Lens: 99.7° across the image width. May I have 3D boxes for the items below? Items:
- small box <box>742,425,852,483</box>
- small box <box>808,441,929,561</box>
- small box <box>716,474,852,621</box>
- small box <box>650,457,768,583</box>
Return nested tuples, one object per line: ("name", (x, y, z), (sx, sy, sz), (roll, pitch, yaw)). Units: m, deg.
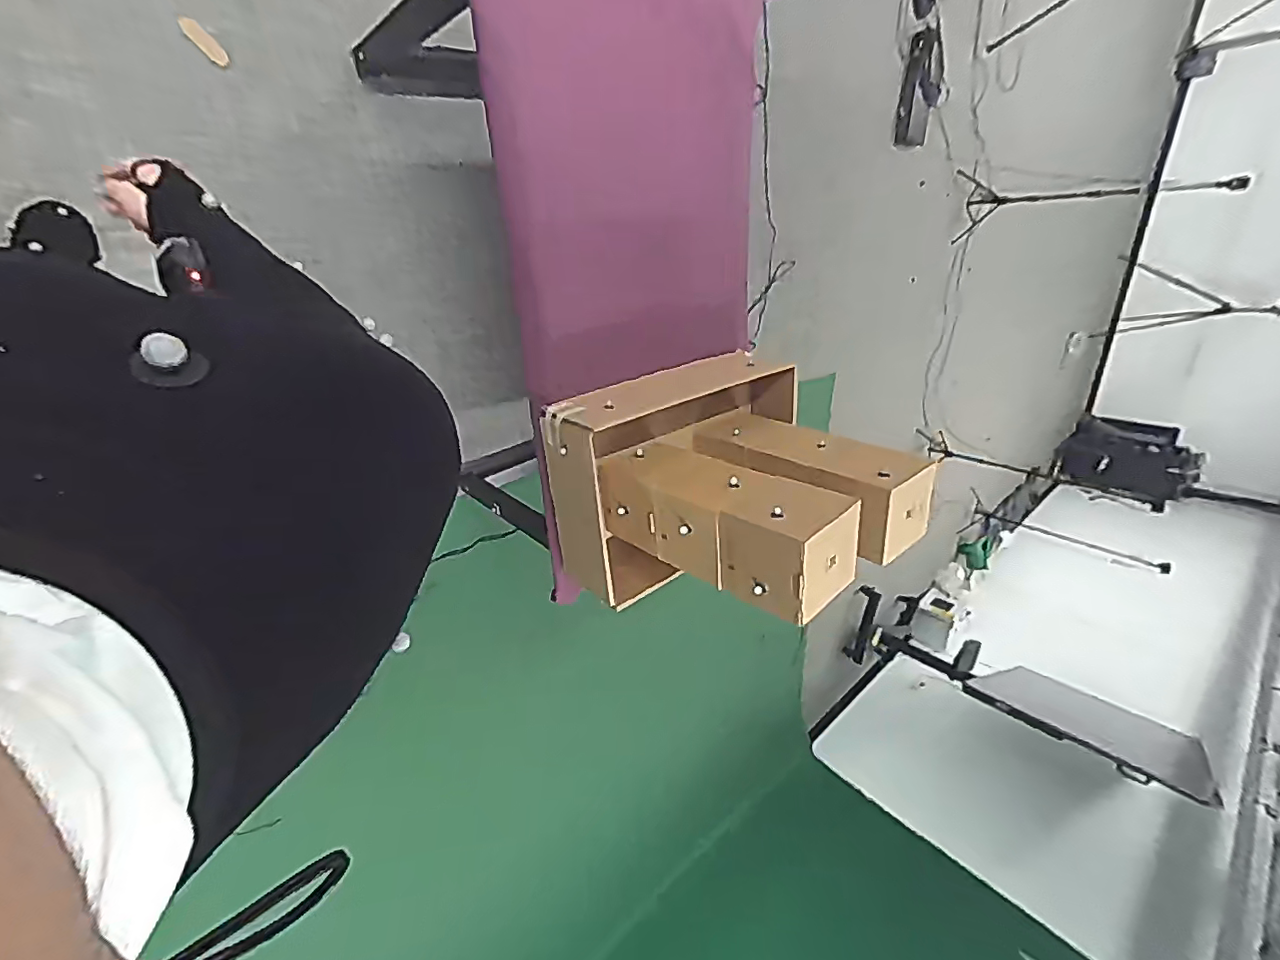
("small box", (0.349, -0.014, 1.218), (0.179, 0.176, 0.168), (-24, 121, -33))
("small box", (0.452, 0.035, 1.099), (0.179, 0.176, 0.168), (-23, 121, -34))
("small box", (0.245, 0.108, 0.944), (0.179, 0.176, 0.168), (-27, 123, -36))
("small box", (0.132, 0.069, 1.055), (0.179, 0.176, 0.168), (-25, 121, -36))
